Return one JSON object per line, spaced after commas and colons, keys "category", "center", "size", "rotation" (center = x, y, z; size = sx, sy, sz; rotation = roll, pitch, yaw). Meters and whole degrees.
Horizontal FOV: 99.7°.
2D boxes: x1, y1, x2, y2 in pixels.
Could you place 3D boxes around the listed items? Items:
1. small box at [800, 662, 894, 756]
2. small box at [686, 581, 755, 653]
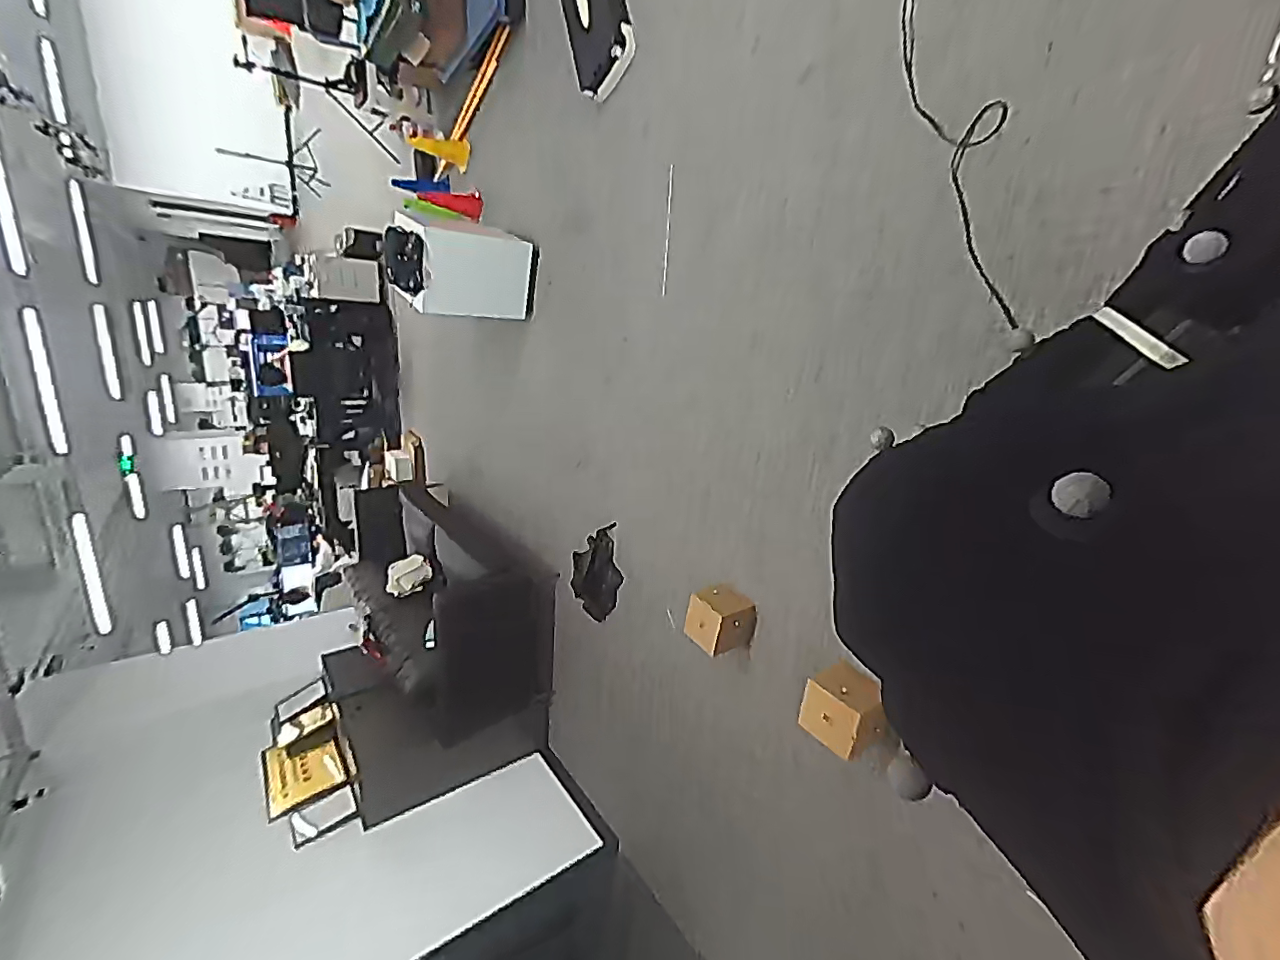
{"category": "small box", "center": [0.603, 0.655, 1.580], "size": [0.179, 0.176, 0.168], "rotation": [27, 118, 48]}
{"category": "small box", "center": [0.295, 0.490, 1.969], "size": [0.168, 0.176, 0.179], "rotation": [34, 124, 47]}
